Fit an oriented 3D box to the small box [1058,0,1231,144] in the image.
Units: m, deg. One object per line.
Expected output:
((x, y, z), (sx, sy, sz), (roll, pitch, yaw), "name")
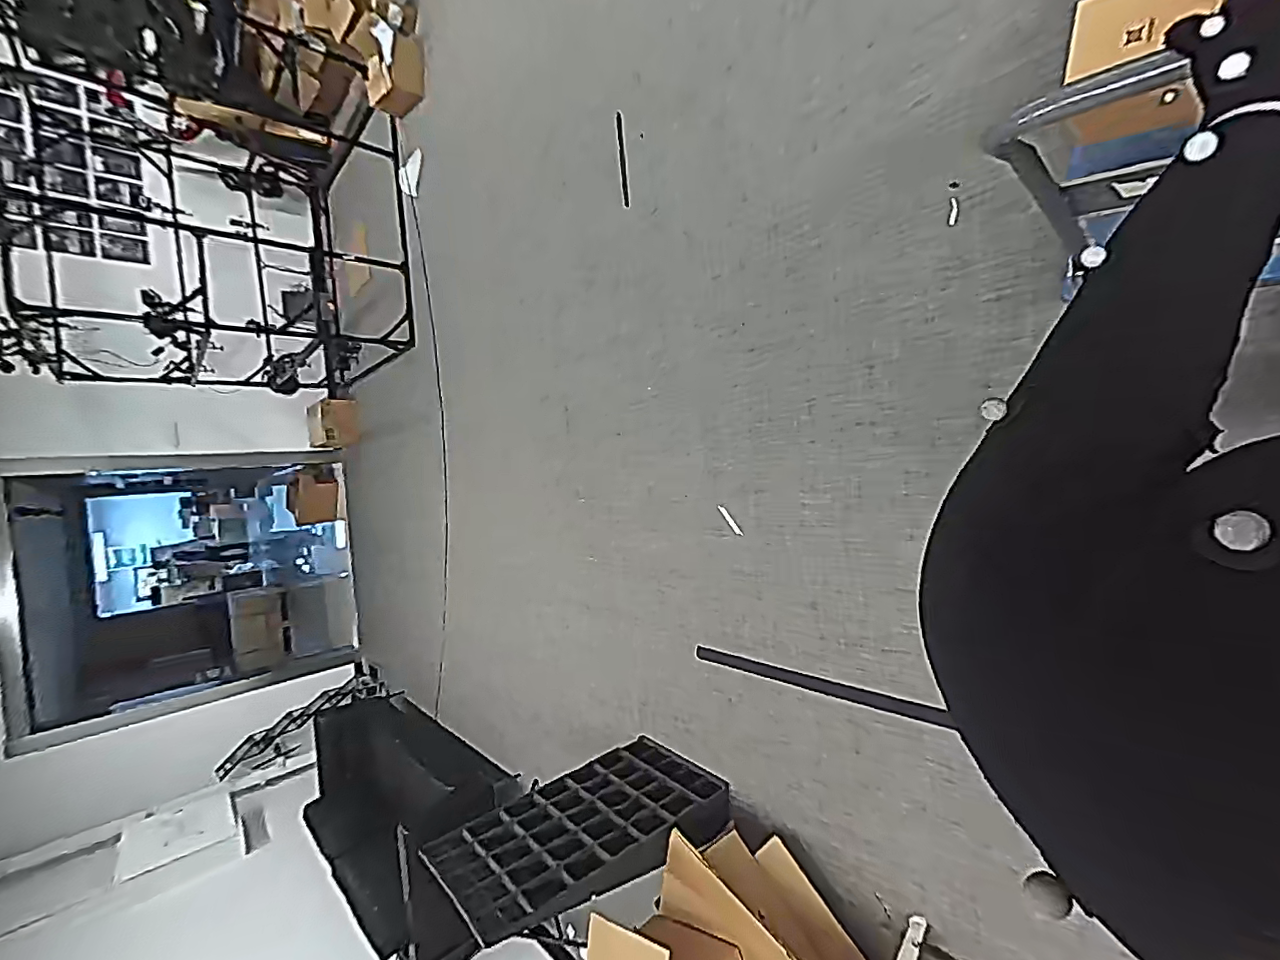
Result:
((0.824, -0.684, 0.886), (0.179, 0.176, 0.168), (13, 103, 45), "small box")
